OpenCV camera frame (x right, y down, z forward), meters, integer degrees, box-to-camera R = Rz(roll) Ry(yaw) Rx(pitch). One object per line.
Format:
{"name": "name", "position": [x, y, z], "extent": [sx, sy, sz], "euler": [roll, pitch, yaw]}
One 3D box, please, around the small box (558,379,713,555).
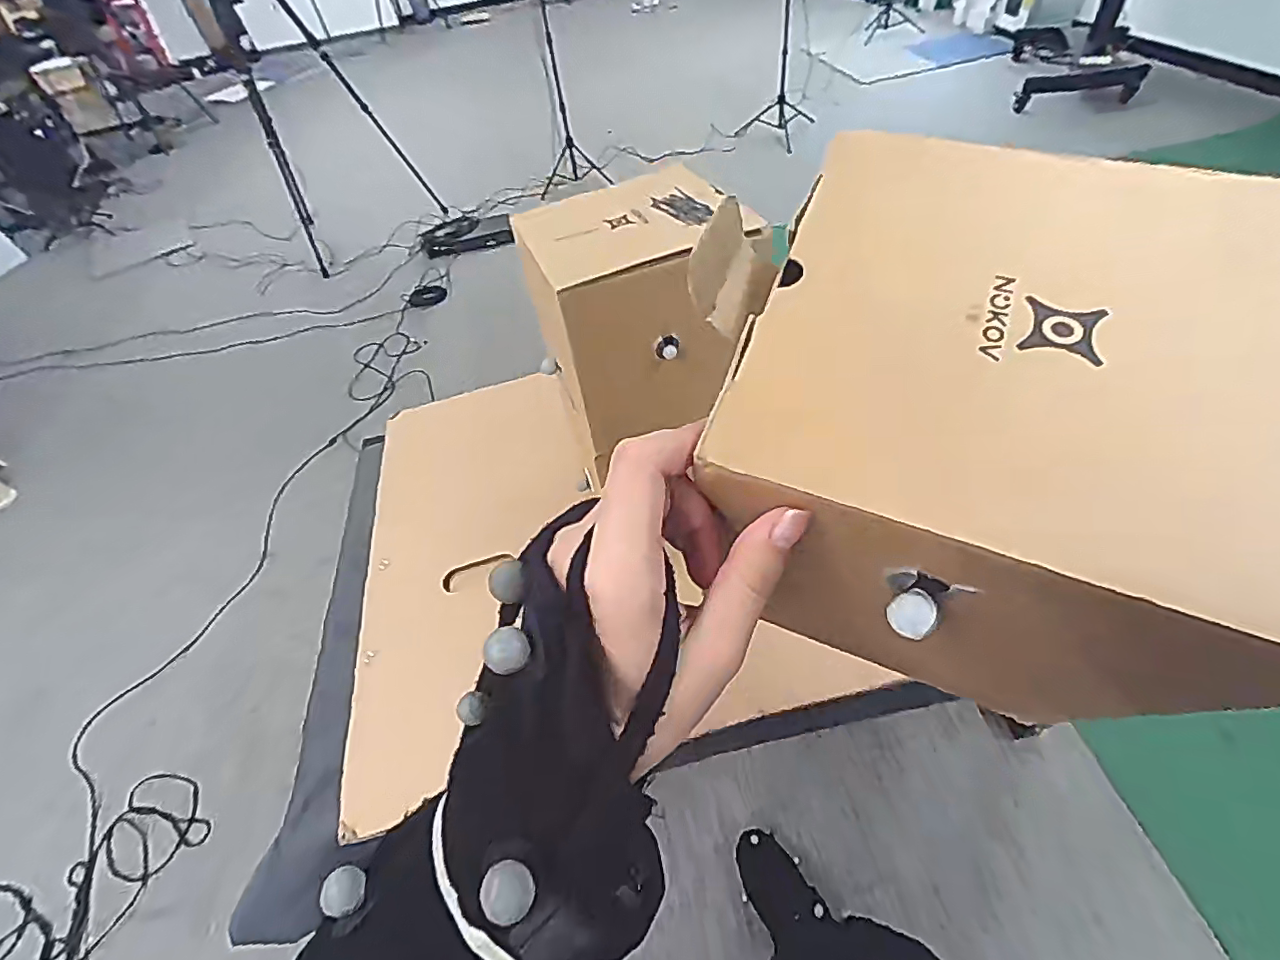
{"name": "small box", "position": [0.020, -0.043, 0.625], "extent": [0.179, 0.176, 0.168], "euler": [-20, 47, -8]}

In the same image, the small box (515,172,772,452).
{"name": "small box", "position": [0.002, -0.156, 0.506], "extent": [0.179, 0.176, 0.168], "euler": [-20, 48, -9]}

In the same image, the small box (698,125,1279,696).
{"name": "small box", "position": [0.137, -0.016, 0.244], "extent": [0.179, 0.176, 0.168], "euler": [18, 68, 16]}
